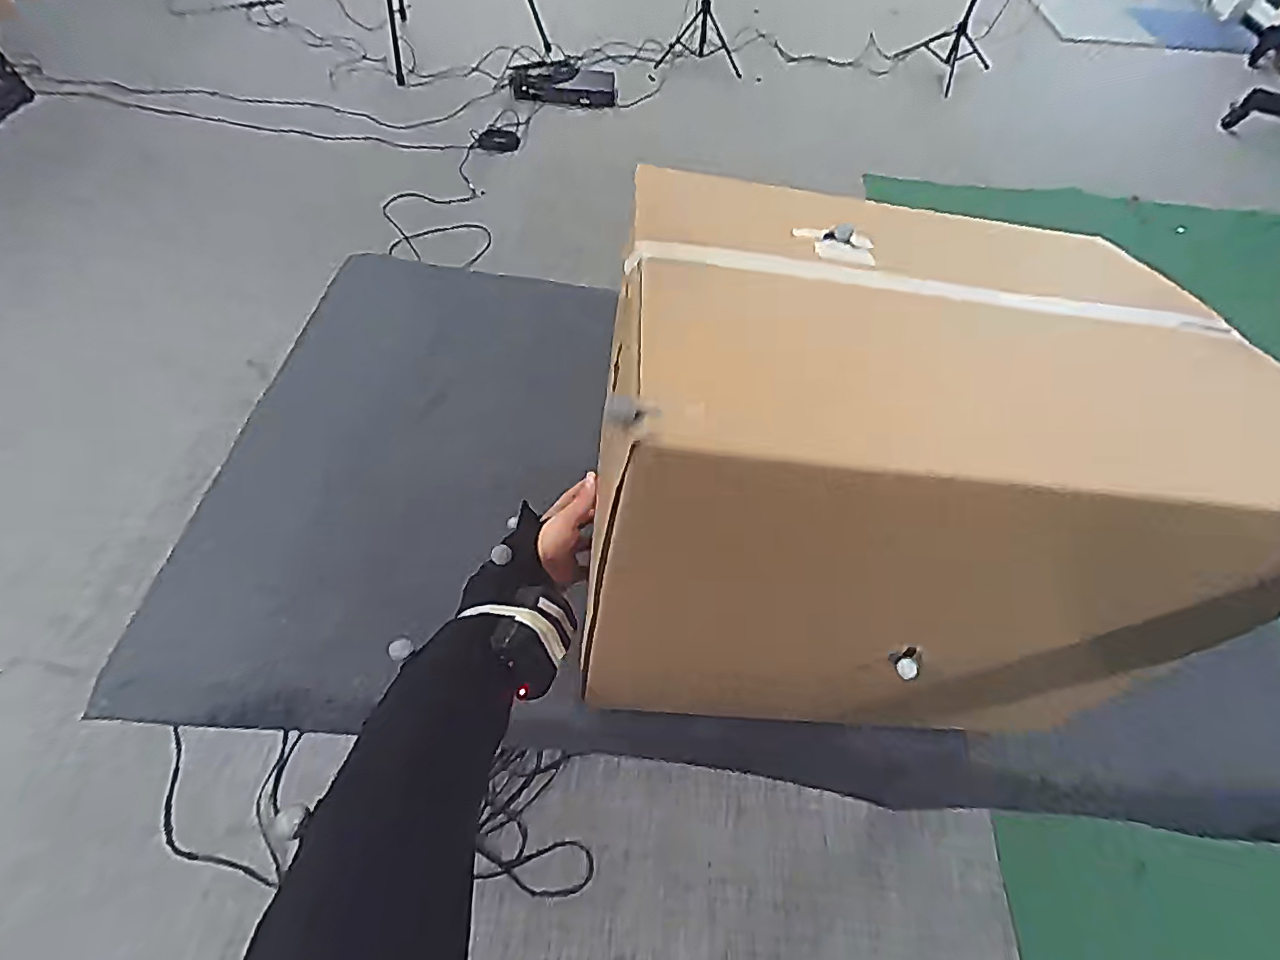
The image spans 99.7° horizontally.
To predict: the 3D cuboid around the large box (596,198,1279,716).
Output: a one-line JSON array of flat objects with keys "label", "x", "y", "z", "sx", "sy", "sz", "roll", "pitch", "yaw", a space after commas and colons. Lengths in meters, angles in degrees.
[{"label": "large box", "x": 0.176, "y": -0.002, "z": 0.469, "sx": 0.408, "sy": 0.320, "sz": 0.320, "roll": 4, "pitch": 48, "yaw": -5}]
